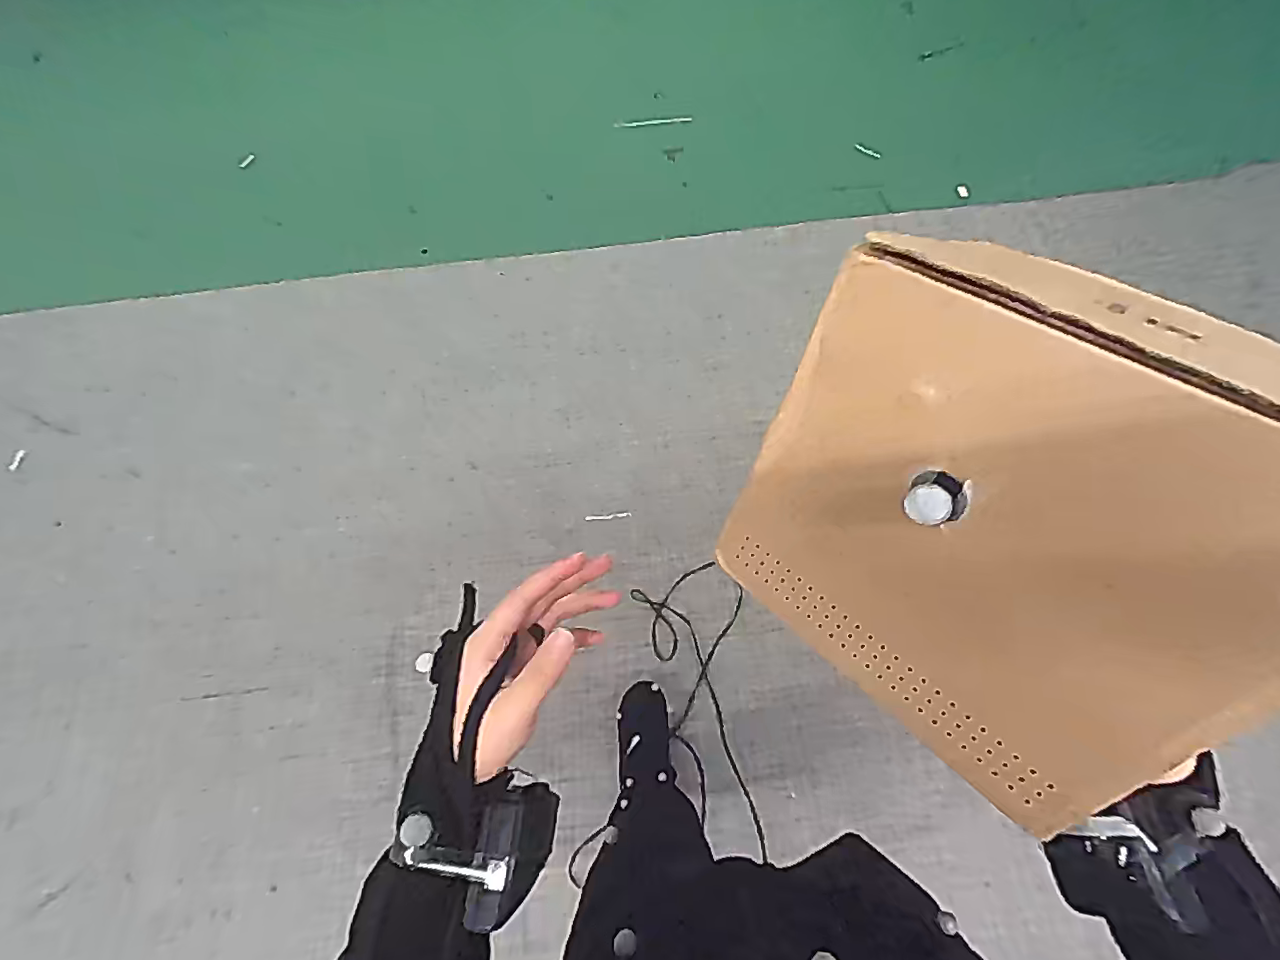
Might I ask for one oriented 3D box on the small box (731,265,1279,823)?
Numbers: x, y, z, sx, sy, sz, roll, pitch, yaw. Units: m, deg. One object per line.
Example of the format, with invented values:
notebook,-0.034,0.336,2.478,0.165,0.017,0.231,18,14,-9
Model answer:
small box,0.171,0.011,0.259,0.168,0.176,0.179,-24,50,-41
